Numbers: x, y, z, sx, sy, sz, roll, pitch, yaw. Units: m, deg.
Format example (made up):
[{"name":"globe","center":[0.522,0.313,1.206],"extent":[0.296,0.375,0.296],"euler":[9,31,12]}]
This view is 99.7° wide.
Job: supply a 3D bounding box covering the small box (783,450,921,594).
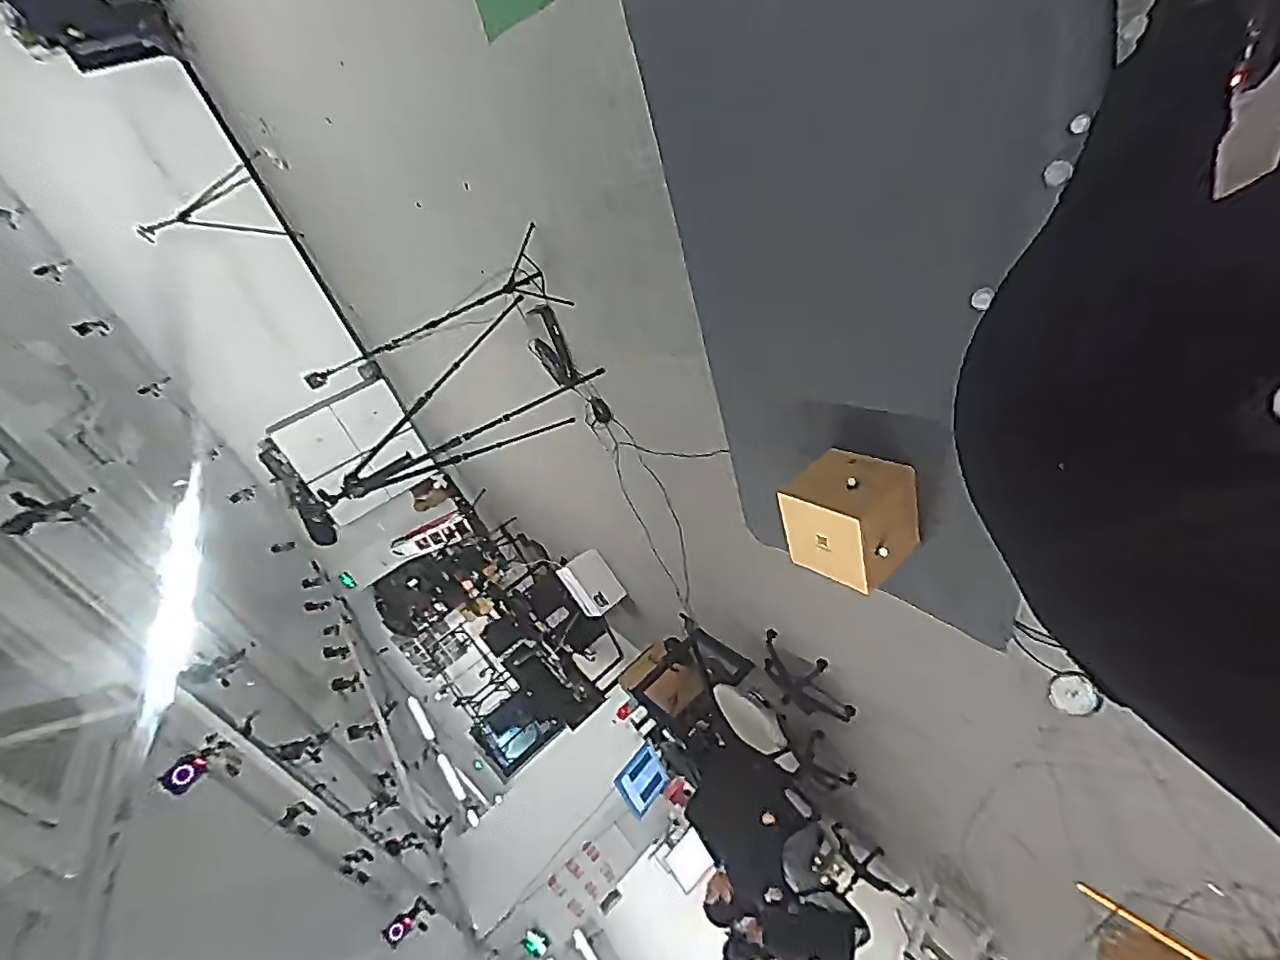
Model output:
[{"name":"small box","center":[0.391,0.067,0.989],"extent":[0.168,0.176,0.179],"euler":[22,141,50]}]
